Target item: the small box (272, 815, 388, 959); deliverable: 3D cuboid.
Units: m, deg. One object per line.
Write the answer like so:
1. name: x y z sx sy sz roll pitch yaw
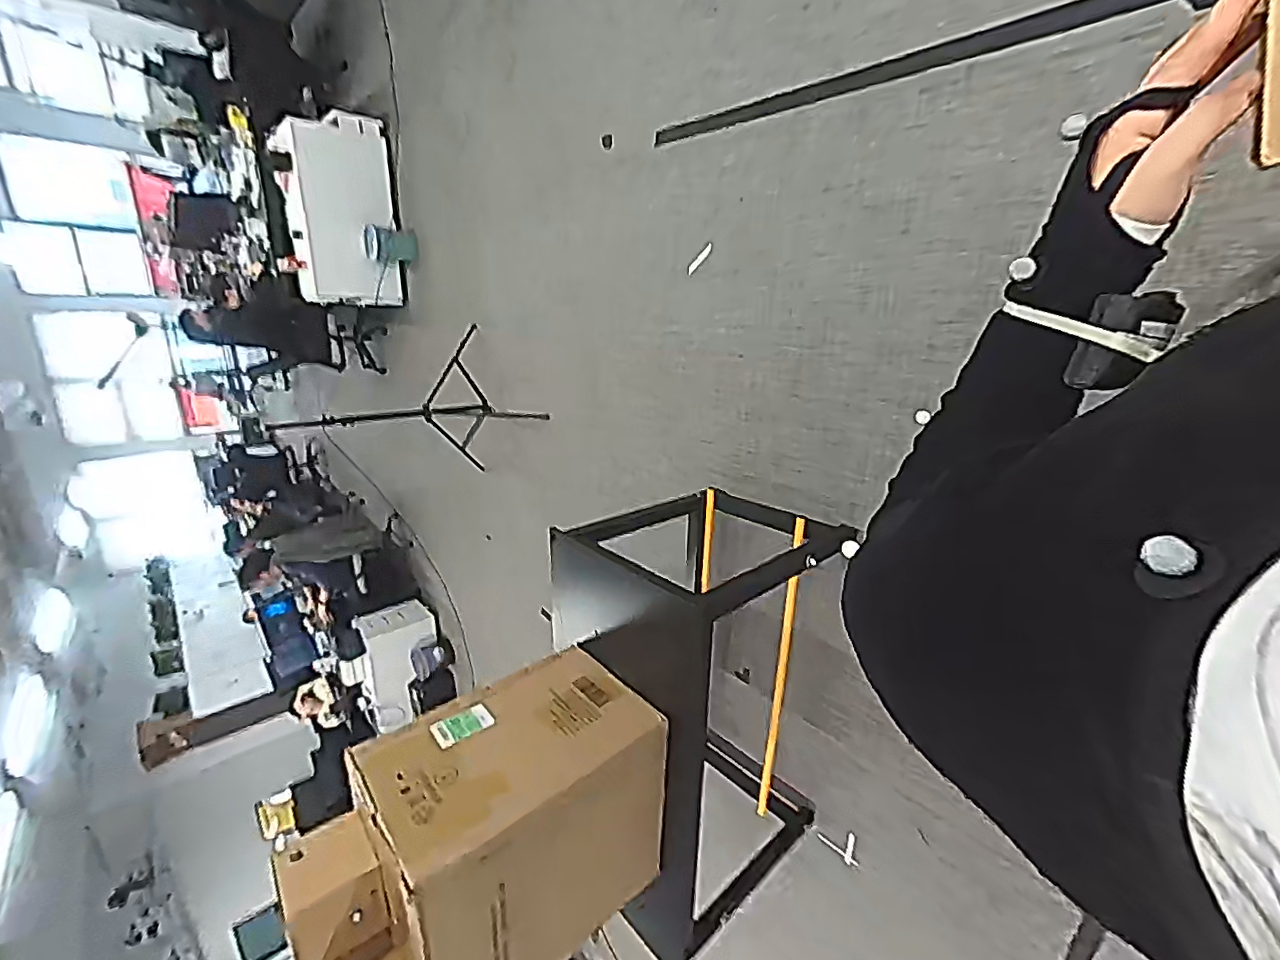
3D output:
1. small box: -0.641 0.841 1.124 0.179 0.176 0.168 18 115 47
